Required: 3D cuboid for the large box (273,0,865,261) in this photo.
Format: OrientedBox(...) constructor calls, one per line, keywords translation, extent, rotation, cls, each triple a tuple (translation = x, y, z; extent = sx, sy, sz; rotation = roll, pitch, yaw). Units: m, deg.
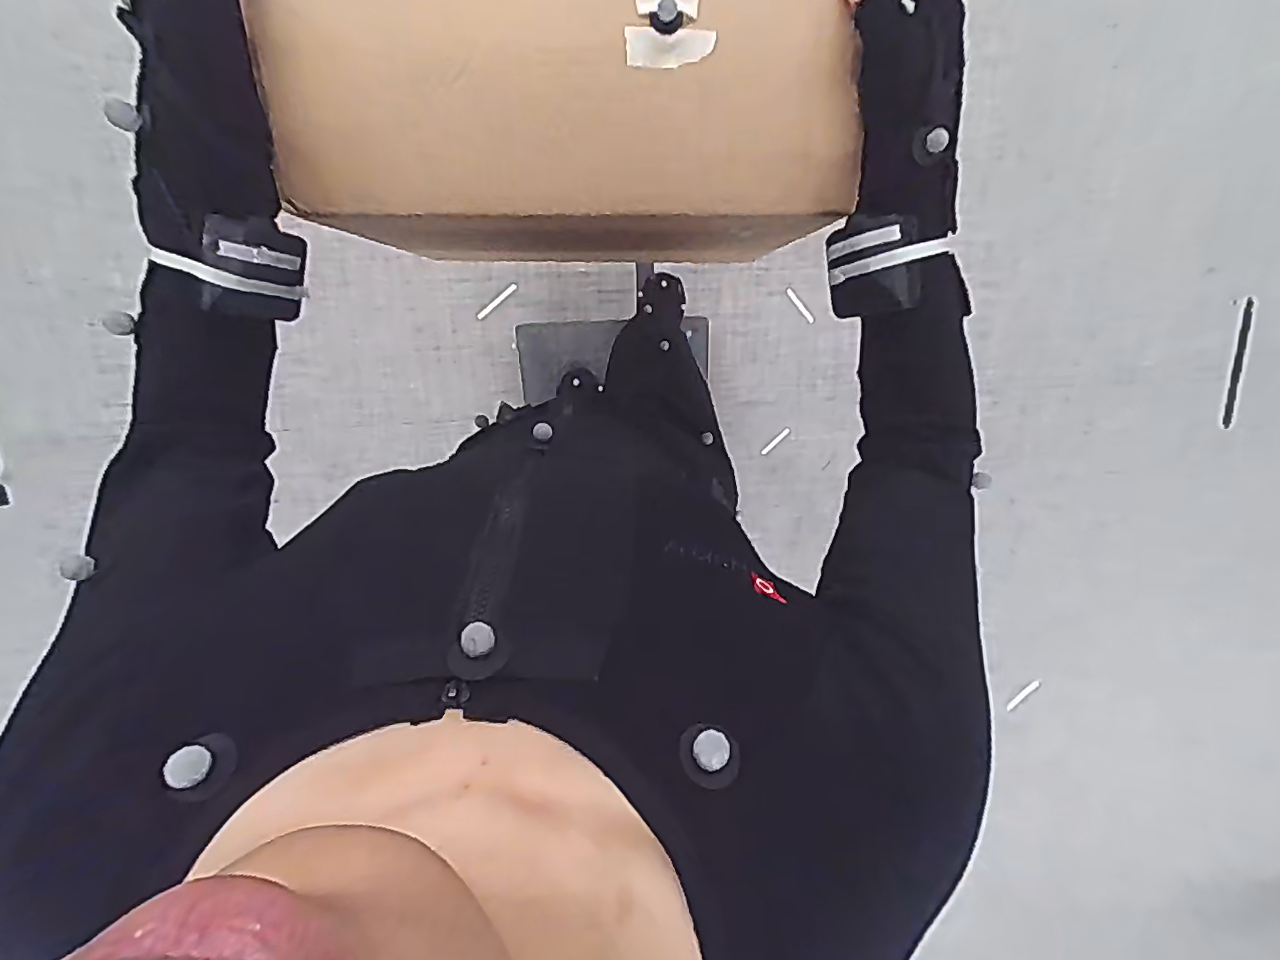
OrientedBox(translation=(-0.051, -0.389, 0.498), extent=(0.408, 0.320, 0.320), rotation=(-1, 107, -2), cls="large box")
